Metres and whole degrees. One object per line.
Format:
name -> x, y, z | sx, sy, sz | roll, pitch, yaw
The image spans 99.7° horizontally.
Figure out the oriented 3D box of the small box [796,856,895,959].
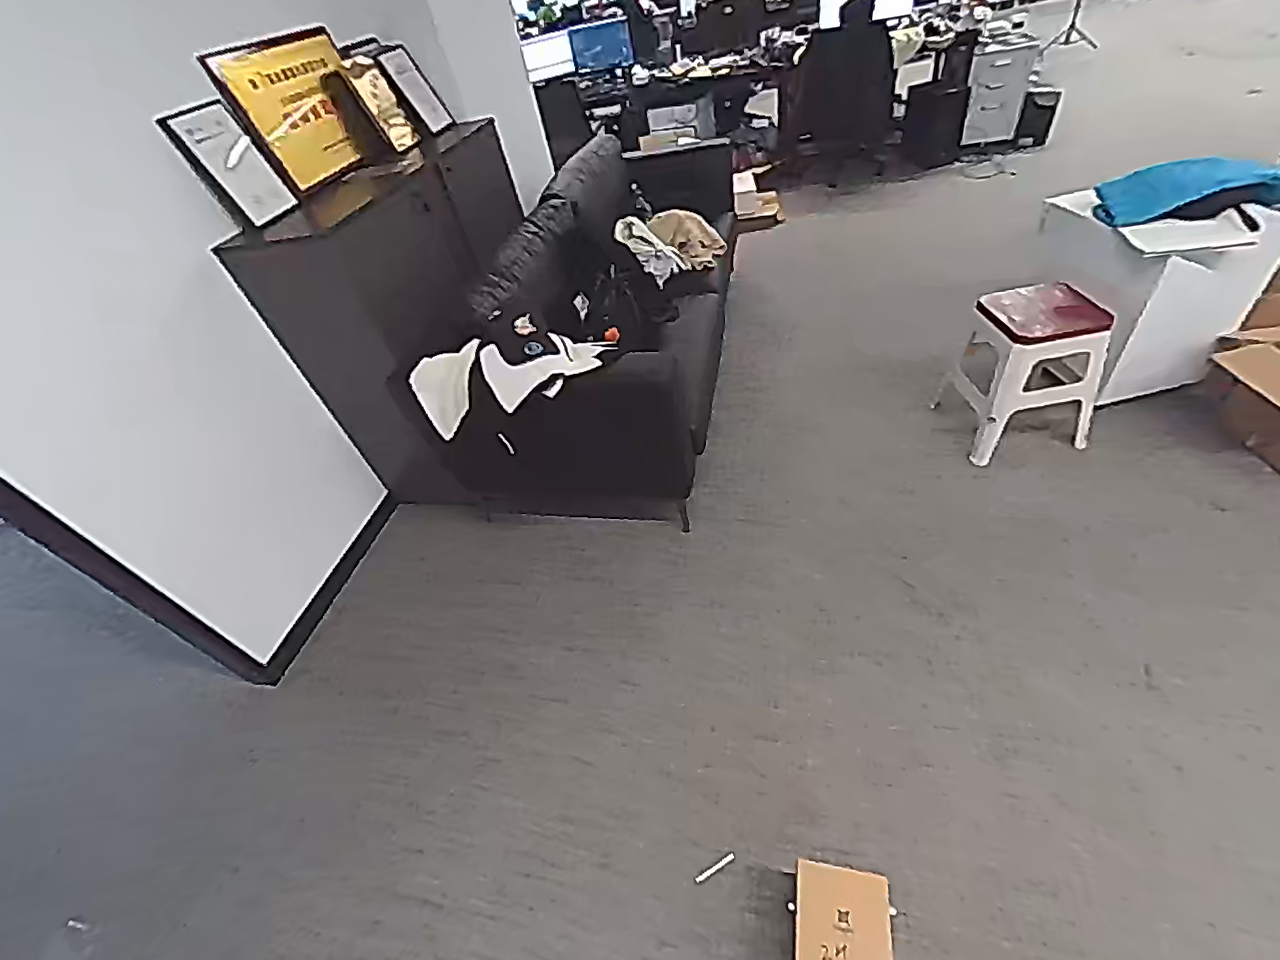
small box -> 0.392, 0.868, 1.051 | 0.168, 0.176, 0.179 | 2, 46, 17
